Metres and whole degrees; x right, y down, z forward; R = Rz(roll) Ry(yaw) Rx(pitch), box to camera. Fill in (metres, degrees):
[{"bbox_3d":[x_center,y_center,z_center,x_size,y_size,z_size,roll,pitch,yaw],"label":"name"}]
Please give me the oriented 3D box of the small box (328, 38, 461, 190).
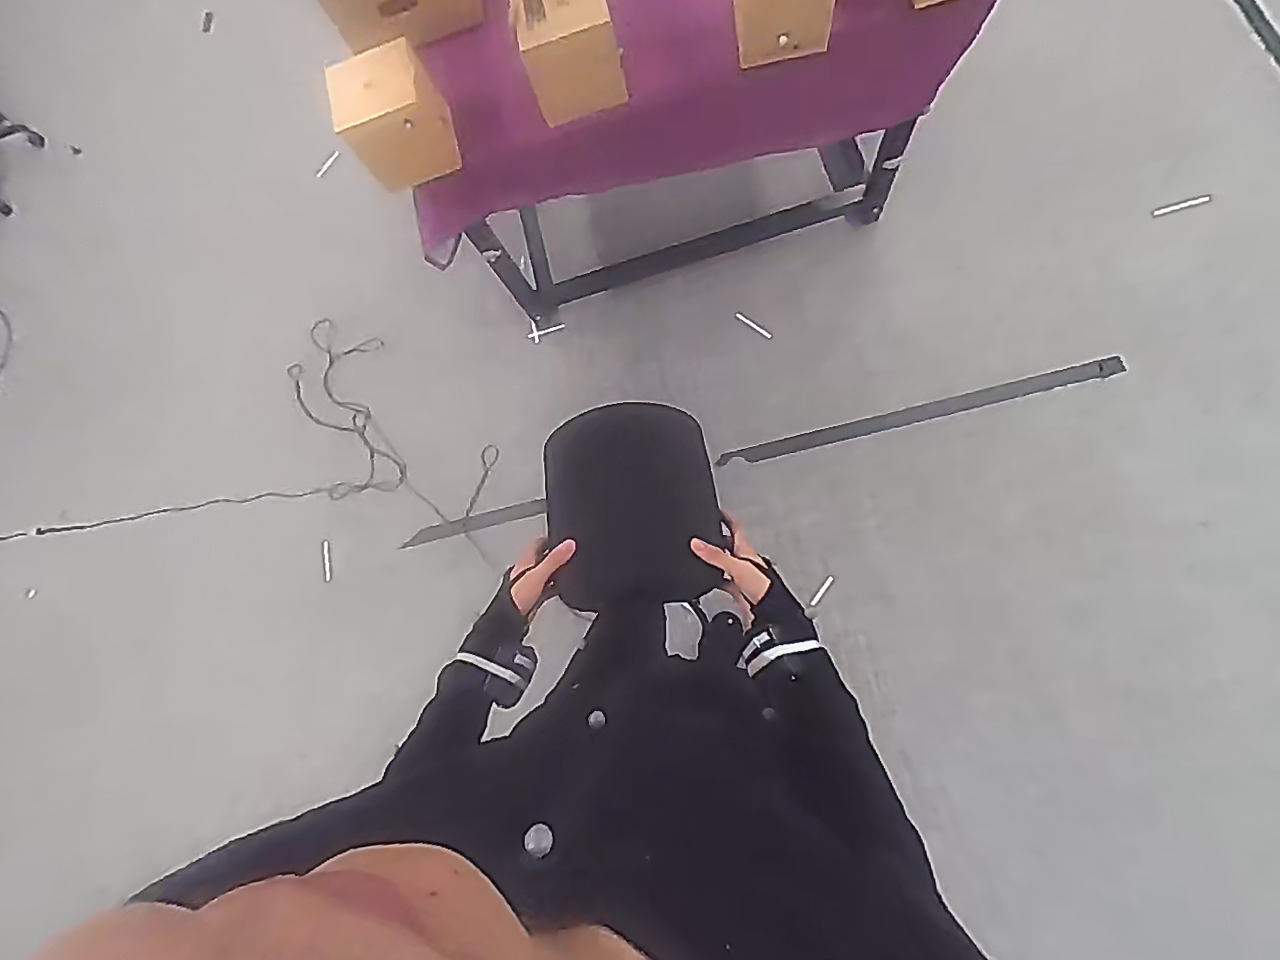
[{"bbox_3d":[-0.495,-0.734,1.104,0.179,0.176,0.168,-17,76,6],"label":"small box"}]
